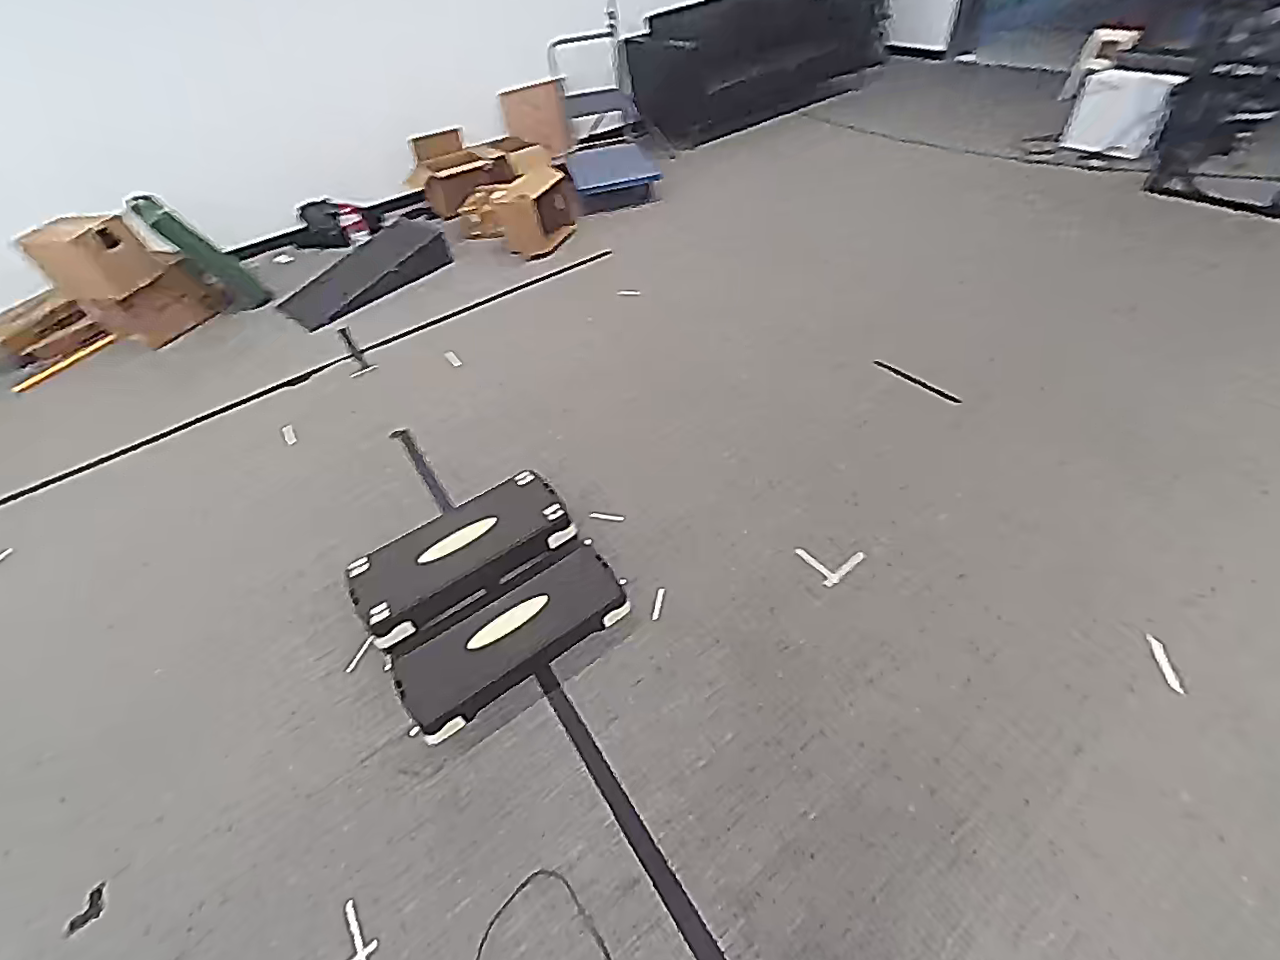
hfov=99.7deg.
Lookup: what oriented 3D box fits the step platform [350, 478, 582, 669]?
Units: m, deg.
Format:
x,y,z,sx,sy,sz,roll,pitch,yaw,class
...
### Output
x,y,z,sx,sy,sz,roll,pitch,yaw,class
-0.531,0.271,1.700,0.684,0.204,0.286,-31,51,-21,step platform
